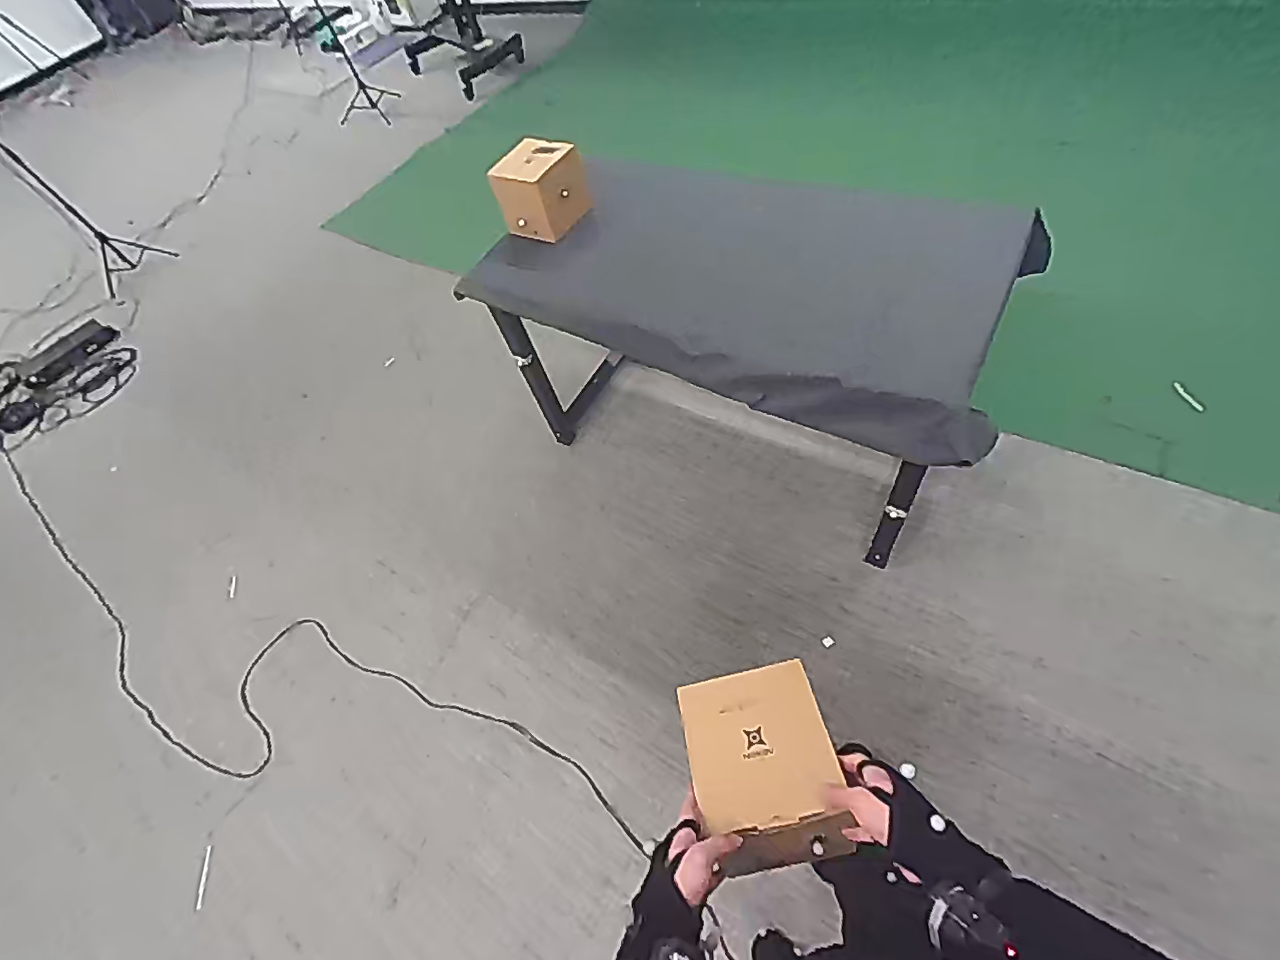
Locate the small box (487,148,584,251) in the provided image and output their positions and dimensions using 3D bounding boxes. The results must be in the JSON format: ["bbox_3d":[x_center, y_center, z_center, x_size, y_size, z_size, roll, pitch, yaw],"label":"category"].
[{"bbox_3d":[-0.266,-0.743,1.435,0.168,0.176,0.179,23,65,24],"label":"small box"}]

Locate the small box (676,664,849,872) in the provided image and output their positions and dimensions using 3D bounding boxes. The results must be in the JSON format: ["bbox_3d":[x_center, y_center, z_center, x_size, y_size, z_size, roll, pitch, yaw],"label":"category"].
[{"bbox_3d":[0.156,0.372,0.691,0.168,0.176,0.179,-16,39,3],"label":"small box"}]
